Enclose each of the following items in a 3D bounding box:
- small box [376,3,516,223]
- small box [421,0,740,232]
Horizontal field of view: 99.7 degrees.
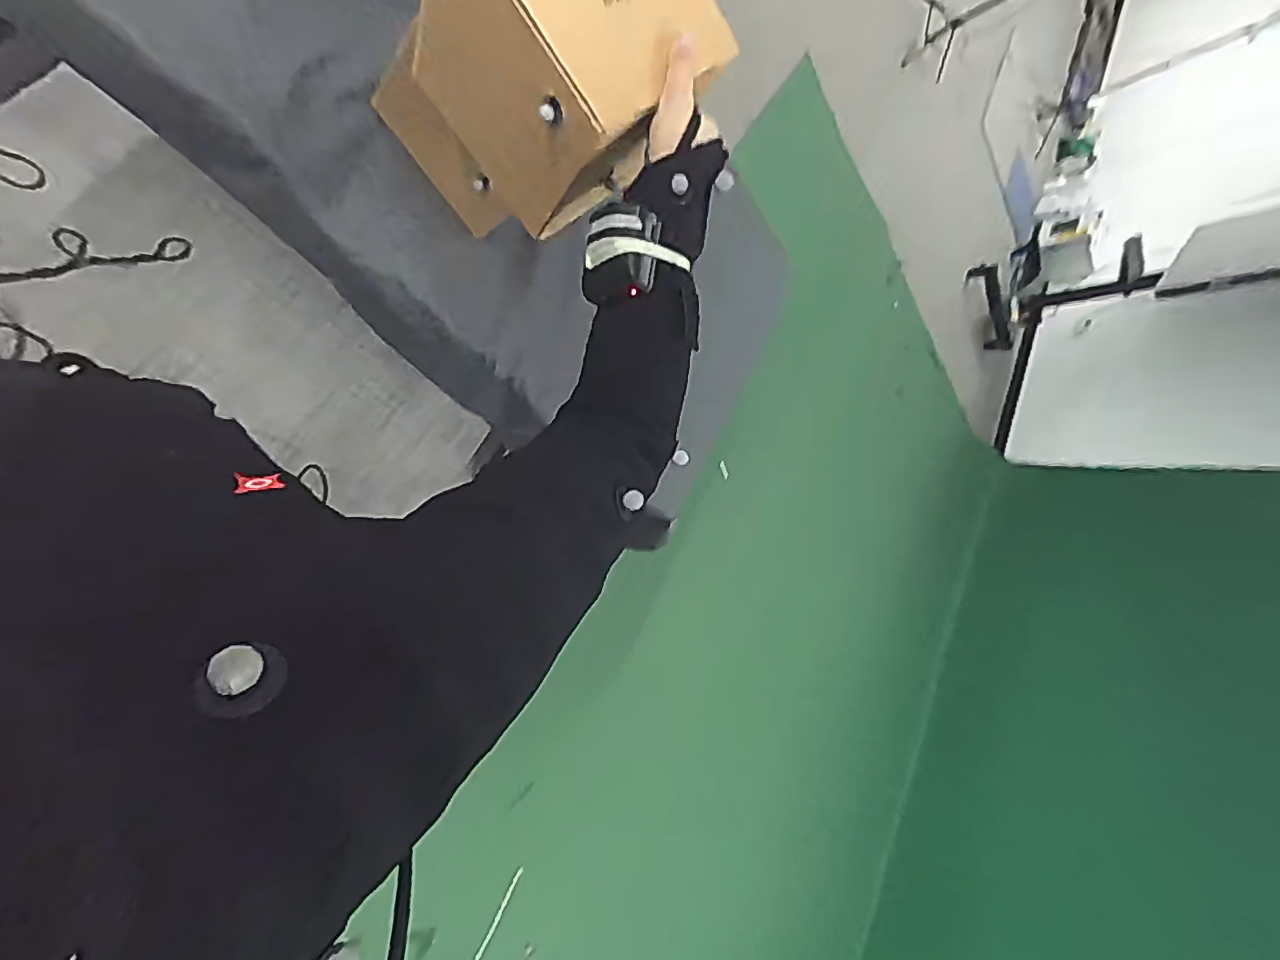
[{"bbox_3d":[-0.162,-0.426,0.622,0.179,0.176,0.168,50,61,-30],"label":"small box"},{"bbox_3d":[-0.059,-0.352,0.455,0.168,0.176,0.179,-44,108,-22],"label":"small box"}]
